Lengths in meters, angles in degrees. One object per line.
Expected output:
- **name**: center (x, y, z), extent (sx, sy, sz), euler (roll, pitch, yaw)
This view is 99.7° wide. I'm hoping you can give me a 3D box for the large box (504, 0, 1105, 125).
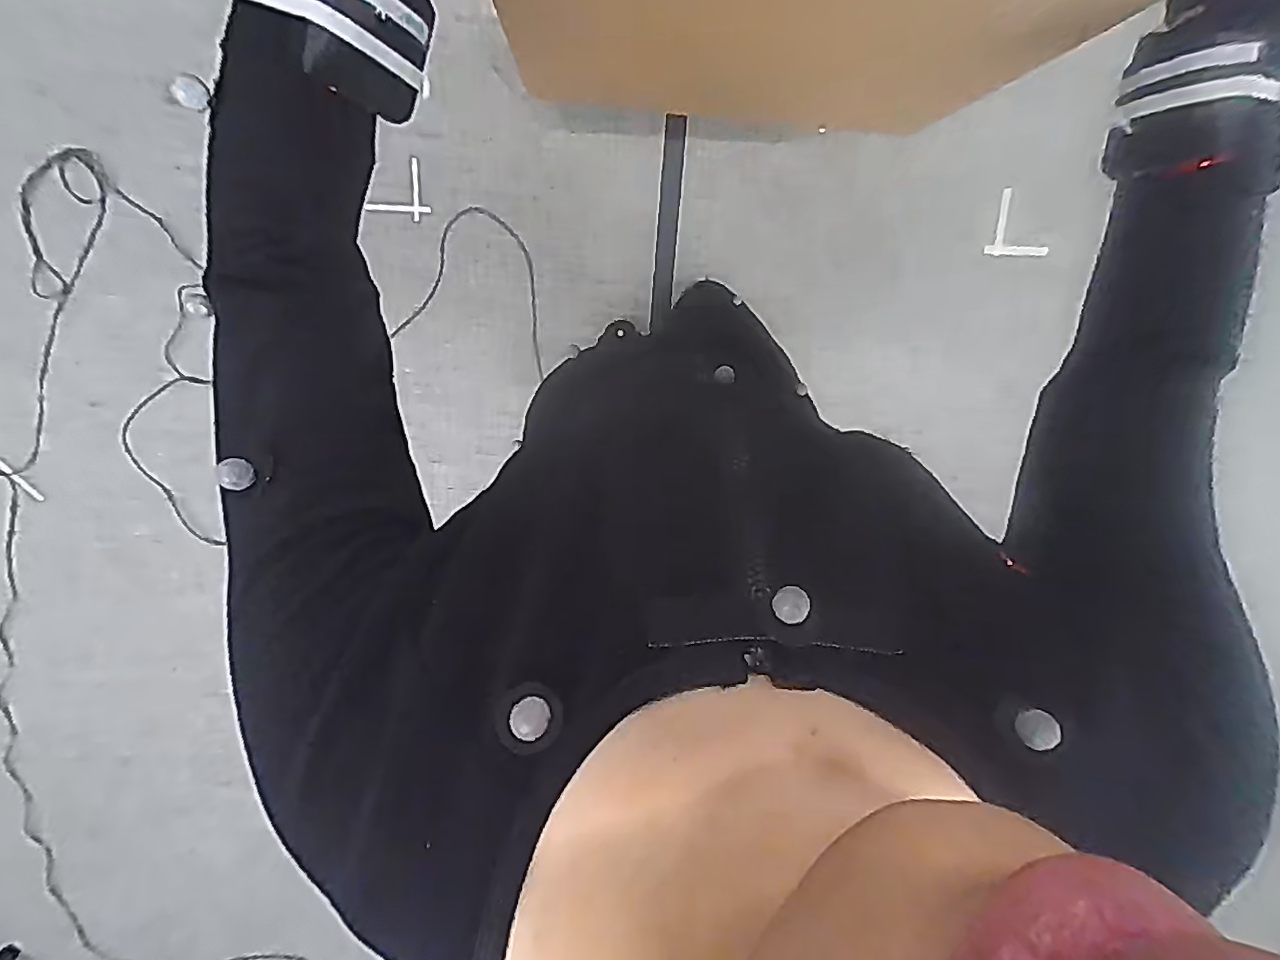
- **large box**: center (0.104, -0.479, 0.375), extent (0.408, 0.320, 0.320), euler (2, 108, -5)
